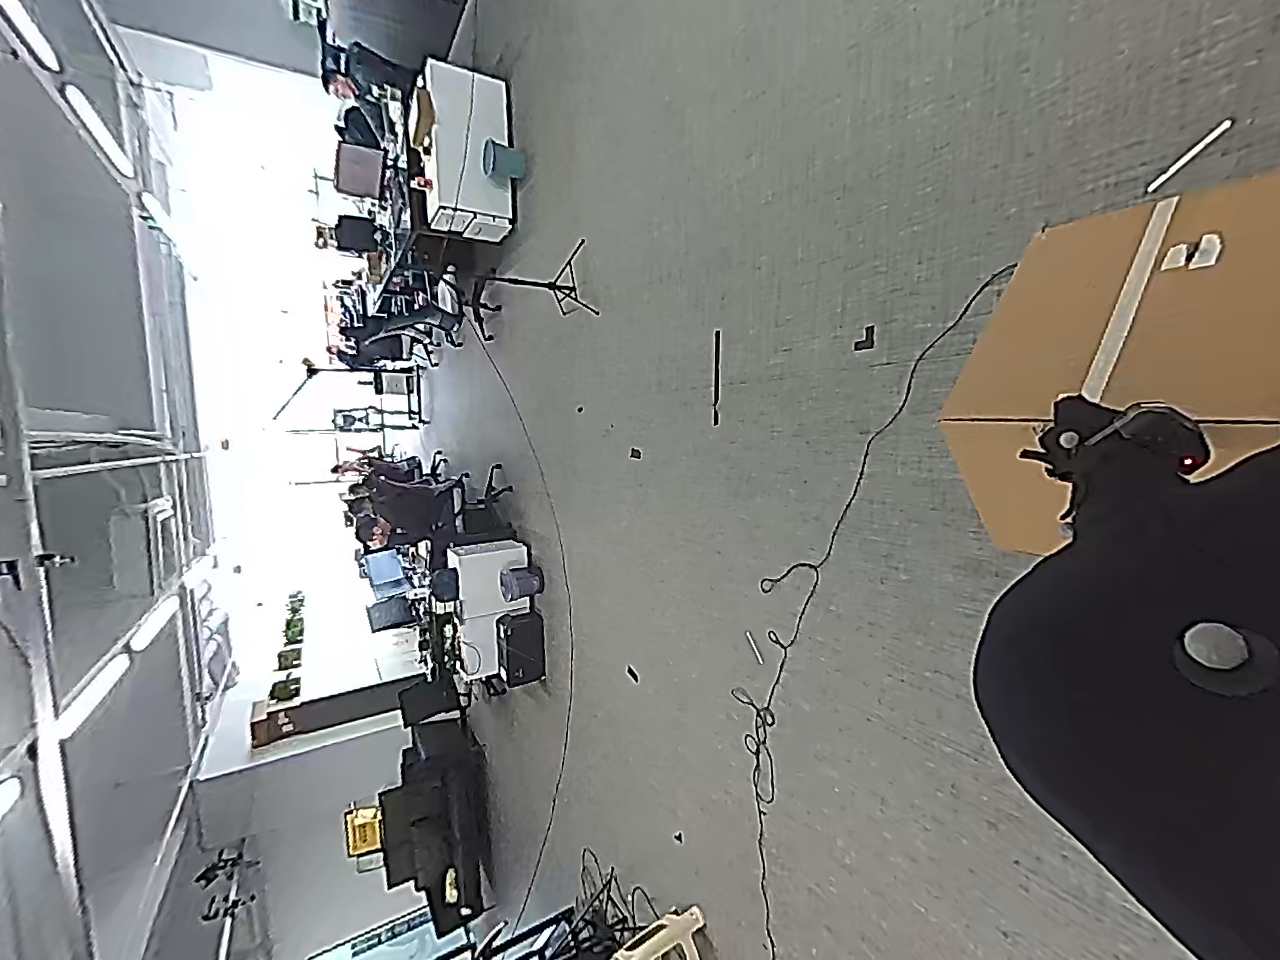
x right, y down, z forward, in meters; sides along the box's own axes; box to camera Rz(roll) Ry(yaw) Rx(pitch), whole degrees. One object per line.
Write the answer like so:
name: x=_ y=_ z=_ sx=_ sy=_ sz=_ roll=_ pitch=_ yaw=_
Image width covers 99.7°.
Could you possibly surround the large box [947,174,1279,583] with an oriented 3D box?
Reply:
large box: x=0.701 y=-0.128 z=0.746 sx=0.320 sy=0.320 sz=0.408 roll=9 pitch=58 yaw=55
